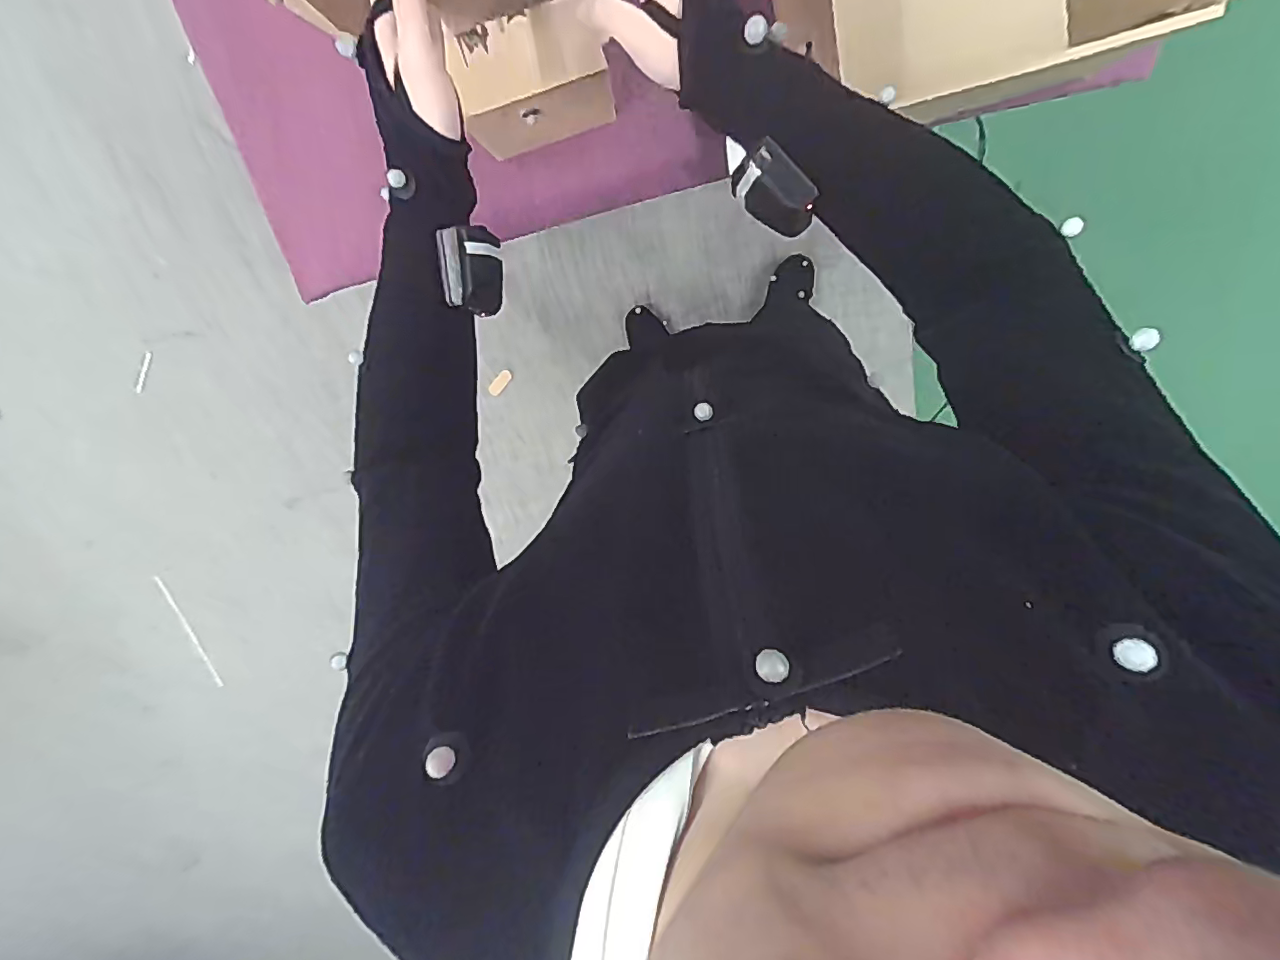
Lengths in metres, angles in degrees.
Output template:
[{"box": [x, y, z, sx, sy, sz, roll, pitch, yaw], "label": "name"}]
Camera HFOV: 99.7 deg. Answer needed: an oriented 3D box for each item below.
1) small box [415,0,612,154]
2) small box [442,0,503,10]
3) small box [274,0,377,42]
[{"box": [-0.142, -0.520, 0.645, 0.179, 0.176, 0.168, -16, 107, 6], "label": "small box"}, {"box": [-0.113, -0.481, 0.388, 0.168, 0.176, 0.179, -17, 117, 3], "label": "small box"}, {"box": [-0.400, -0.645, 0.607, 0.179, 0.176, 0.168, 27, 106, -8], "label": "small box"}]
